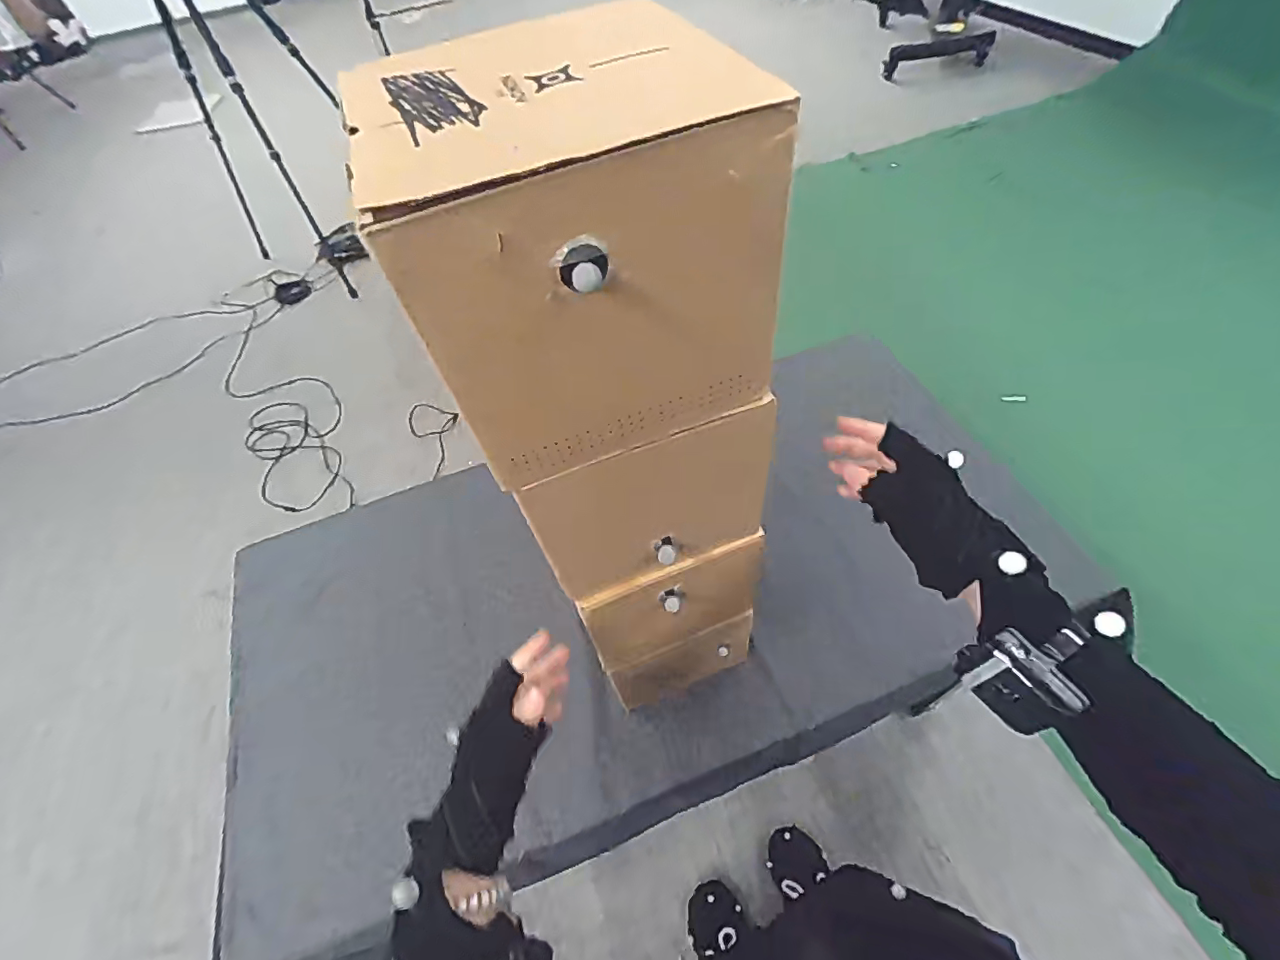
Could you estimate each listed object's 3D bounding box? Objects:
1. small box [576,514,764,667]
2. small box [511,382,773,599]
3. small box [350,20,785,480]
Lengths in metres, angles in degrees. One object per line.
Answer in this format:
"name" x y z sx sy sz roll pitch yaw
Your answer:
"small box" 0.010 0.071 0.575 0.179 0.176 0.168 -22 54 -8
"small box" -0.013 -0.029 0.447 0.179 0.176 0.168 -19 53 -7
"small box" -0.038 -0.126 0.316 0.179 0.176 0.168 -21 54 -8
